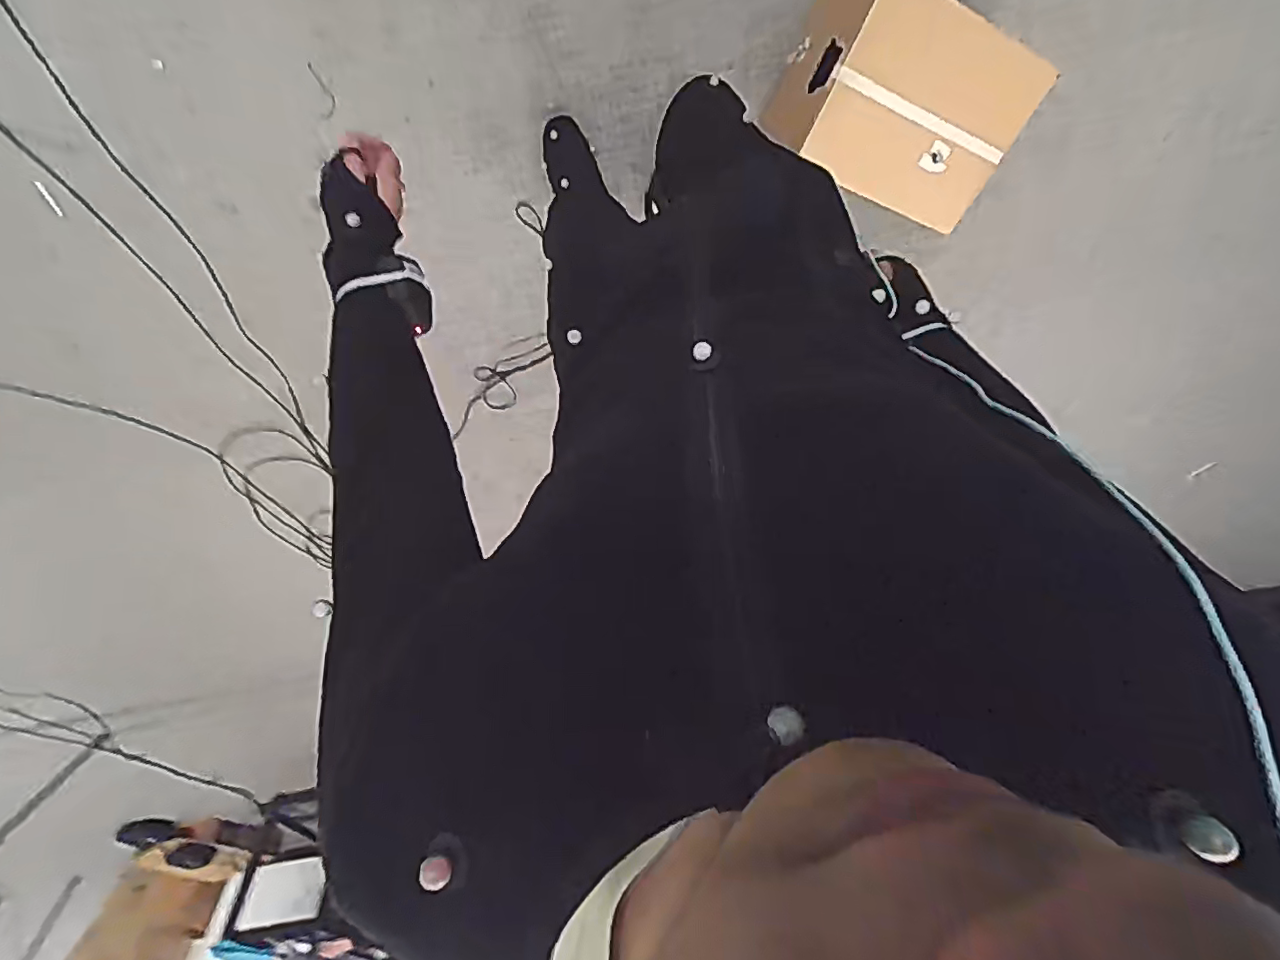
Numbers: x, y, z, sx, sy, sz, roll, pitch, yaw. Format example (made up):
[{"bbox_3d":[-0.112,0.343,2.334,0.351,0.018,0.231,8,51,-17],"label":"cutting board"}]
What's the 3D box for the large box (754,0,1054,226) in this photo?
[{"bbox_3d":[0.516,-0.795,1.143,0.408,0.320,0.320,13,127,-18],"label":"large box"}]
